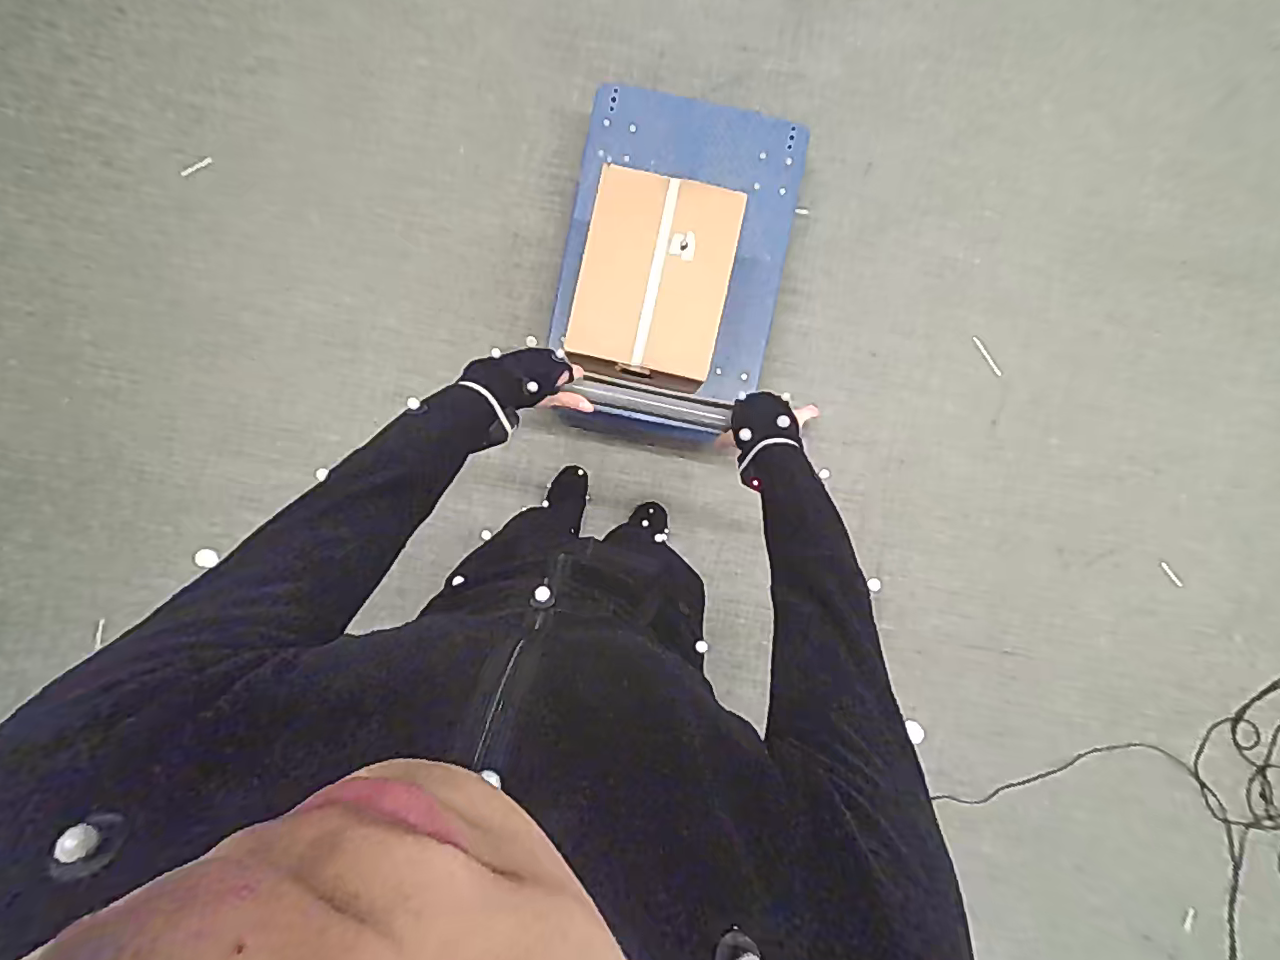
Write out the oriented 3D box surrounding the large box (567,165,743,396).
[{"bbox_3d":[0.031,-0.440,1.287,0.320,0.320,0.408,12,90,-1],"label":"large box"}]
